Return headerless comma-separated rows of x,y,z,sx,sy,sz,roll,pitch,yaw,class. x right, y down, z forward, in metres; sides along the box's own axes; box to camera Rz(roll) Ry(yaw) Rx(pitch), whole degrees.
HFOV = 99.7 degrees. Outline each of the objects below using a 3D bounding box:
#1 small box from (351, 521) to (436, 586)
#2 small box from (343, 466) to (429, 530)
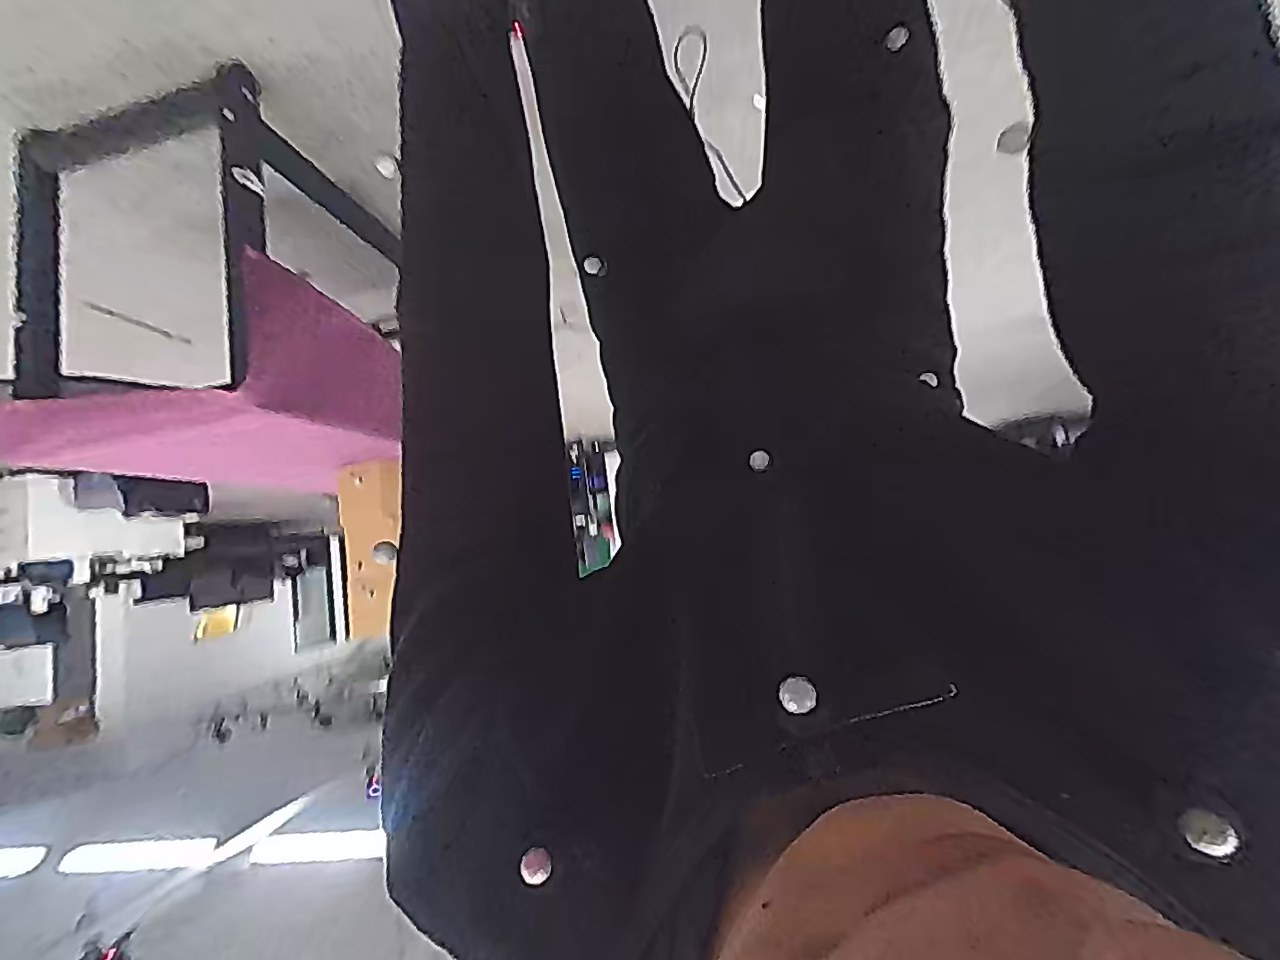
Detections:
-0.748,0.220,1.639,0.179,0.176,0.168,-10,173,14,small box
-0.769,0.055,1.638,0.168,0.176,0.179,-11,171,20,small box
